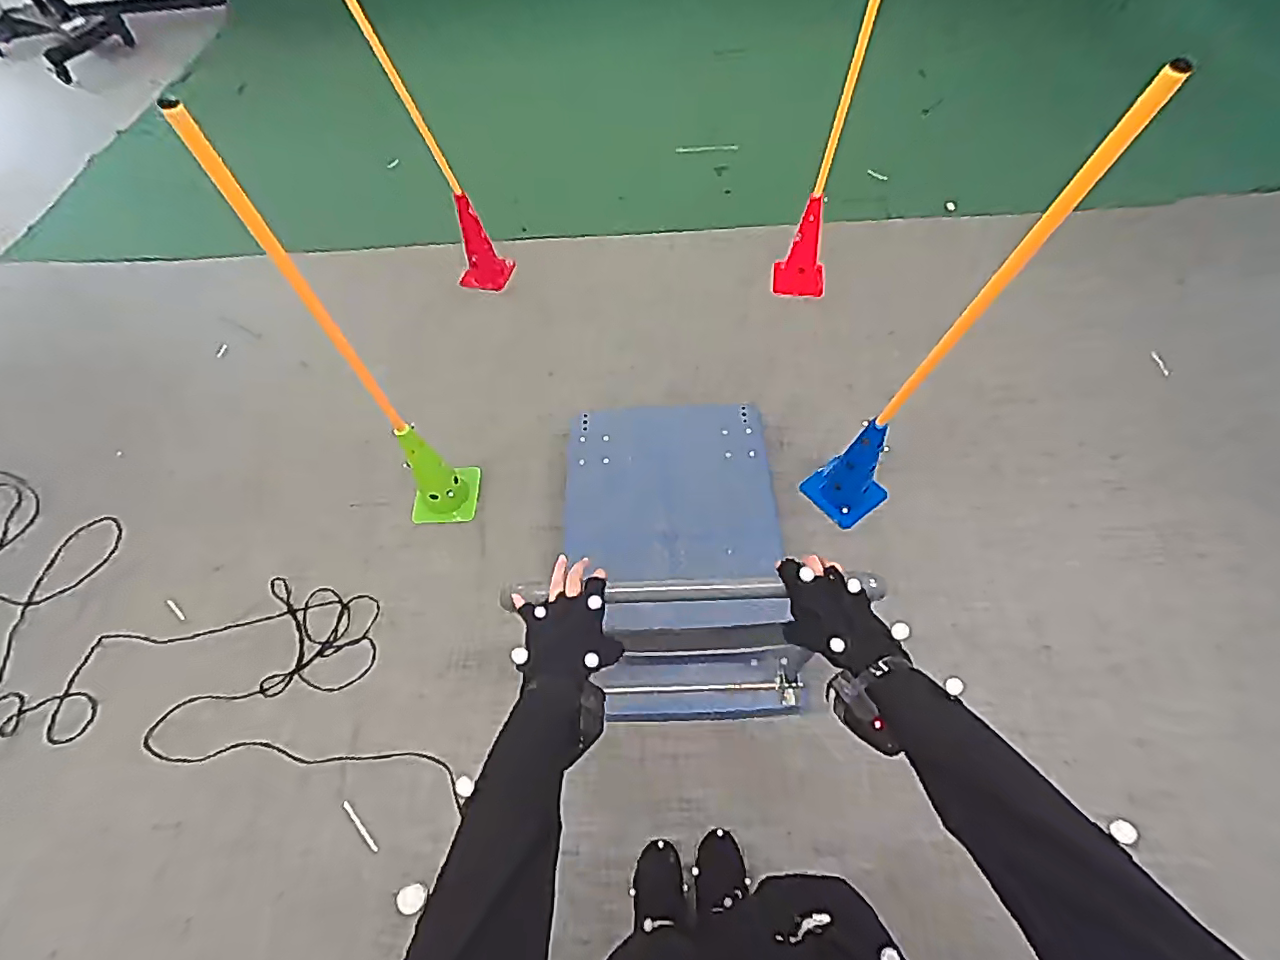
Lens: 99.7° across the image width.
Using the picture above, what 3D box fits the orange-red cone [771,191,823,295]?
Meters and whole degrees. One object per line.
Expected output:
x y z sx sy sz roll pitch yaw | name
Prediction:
0.621 -0.902 2.027 0.198 0.360 0.199 8 60 9 | orange-red cone
